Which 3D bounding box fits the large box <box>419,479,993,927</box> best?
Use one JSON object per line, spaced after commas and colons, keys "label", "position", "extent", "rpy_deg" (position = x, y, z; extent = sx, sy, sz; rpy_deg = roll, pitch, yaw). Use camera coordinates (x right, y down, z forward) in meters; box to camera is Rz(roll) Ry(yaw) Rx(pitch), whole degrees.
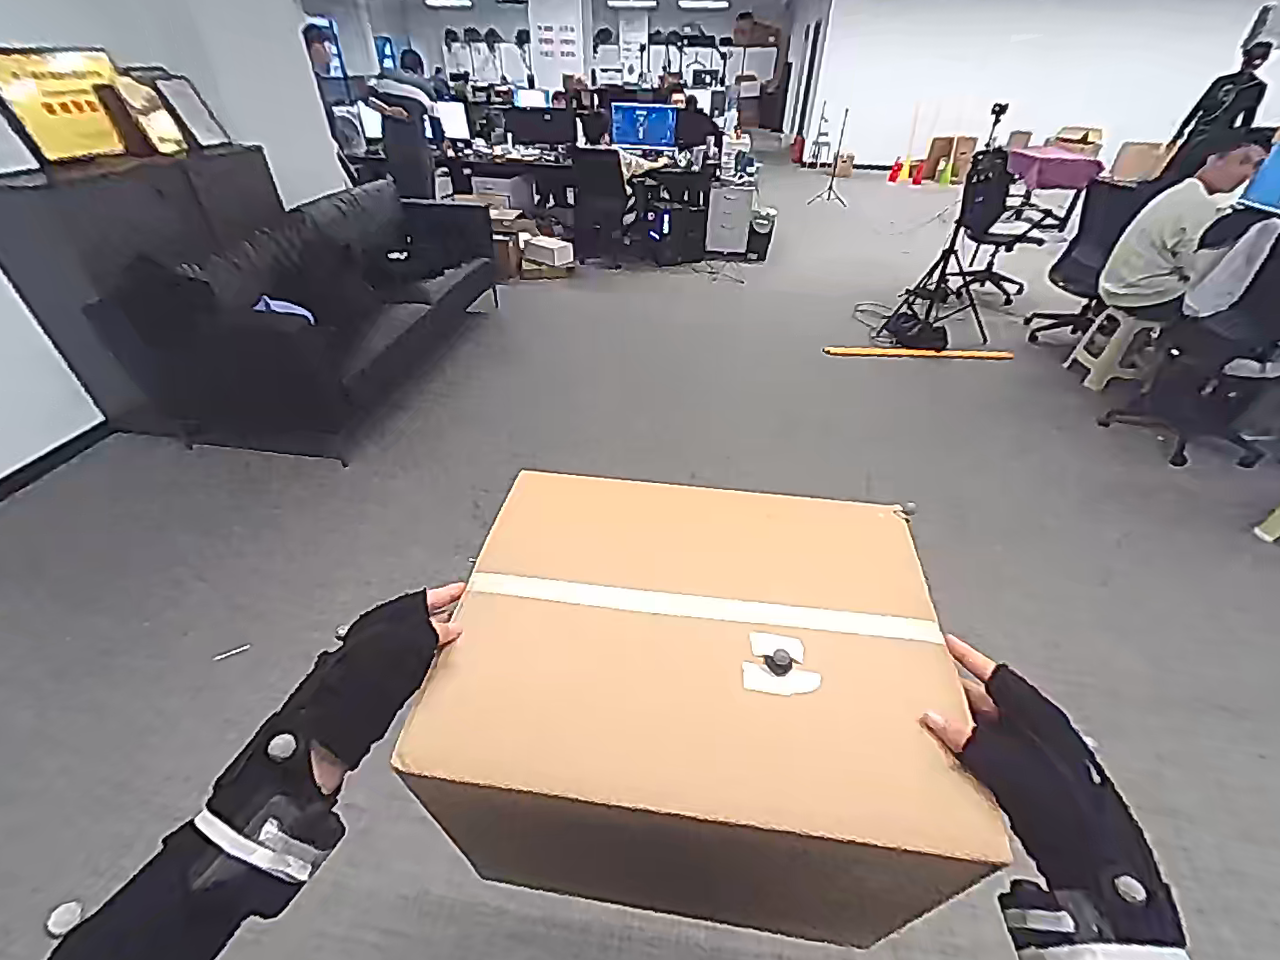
{"label": "large box", "position": [0.050, 0.226, 0.576], "extent": [0.408, 0.320, 0.320], "rpy_deg": [6, 42, 5]}
